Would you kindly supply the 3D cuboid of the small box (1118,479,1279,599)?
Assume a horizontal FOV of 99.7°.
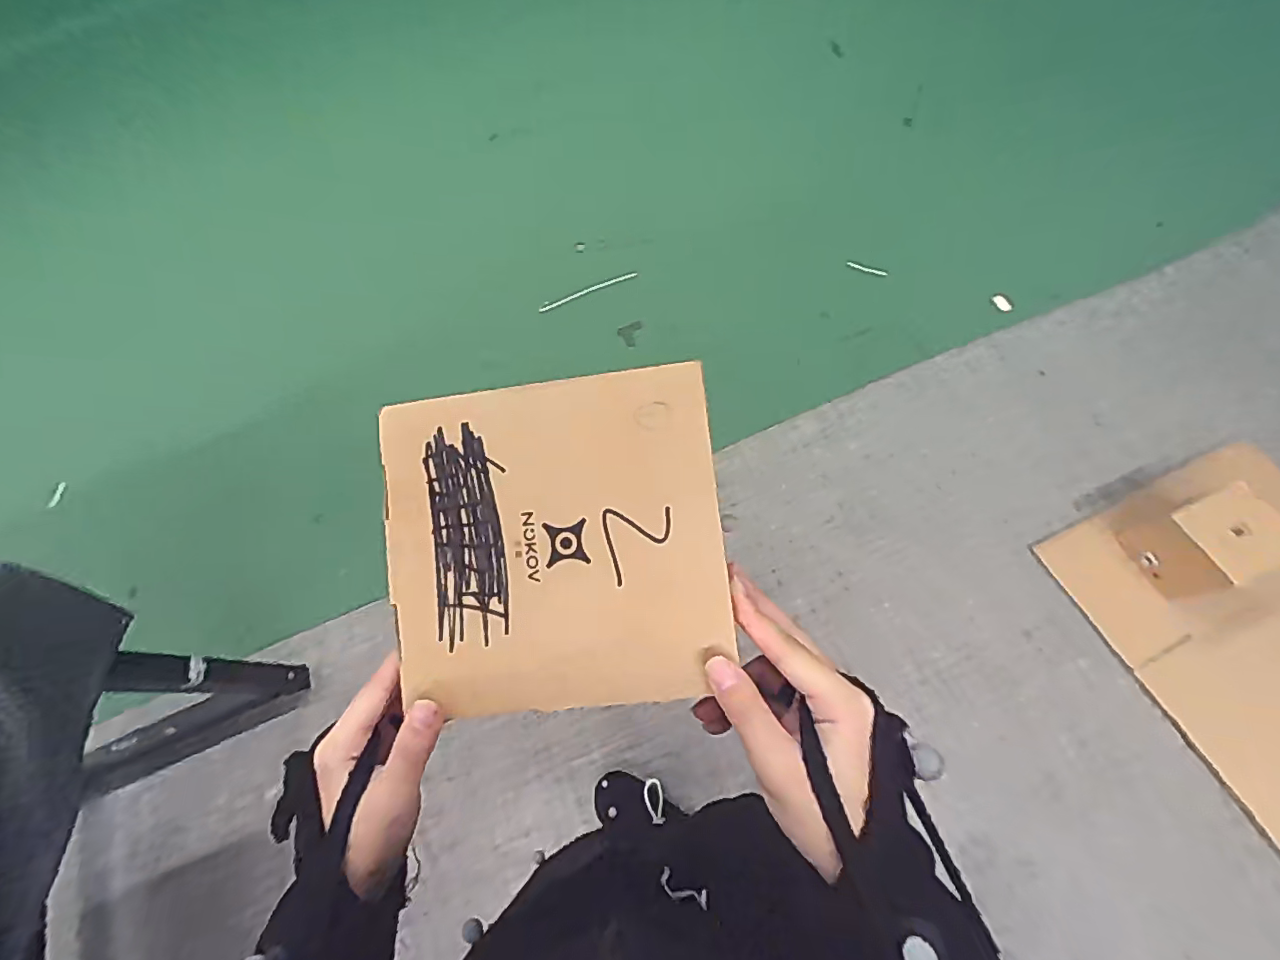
[{"bbox_3d":[1.172,0.128,1.125,0.179,0.176,0.168,-26,67,-4],"label":"small box"}]
